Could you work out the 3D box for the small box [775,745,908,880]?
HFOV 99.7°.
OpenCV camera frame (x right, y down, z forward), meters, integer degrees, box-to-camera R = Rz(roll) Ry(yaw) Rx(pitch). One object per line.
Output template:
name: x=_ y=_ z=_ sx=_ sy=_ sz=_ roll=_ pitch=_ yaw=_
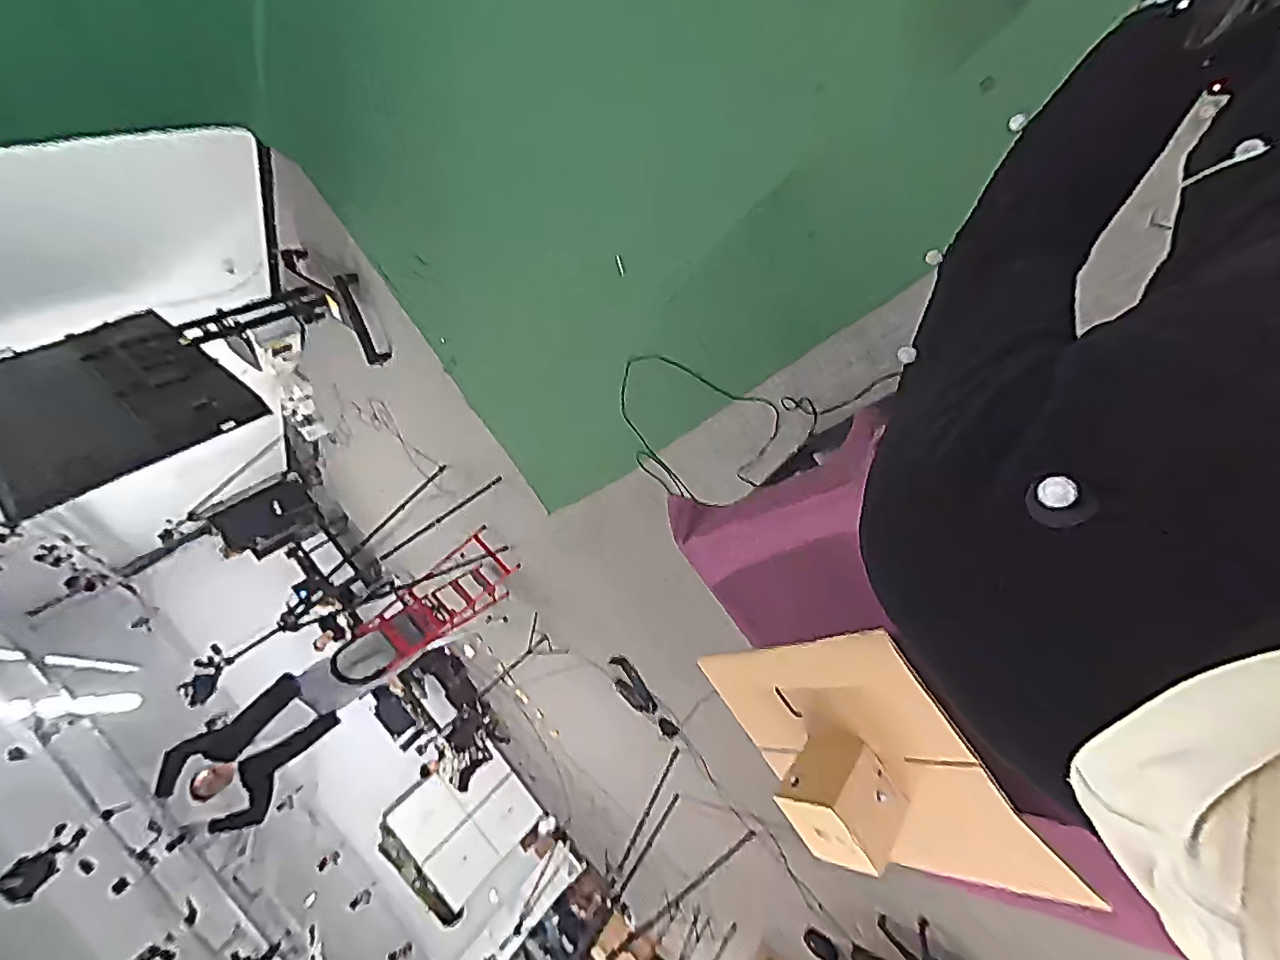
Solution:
small box: x=0.431 y=0.694 z=1.155 sx=0.168 sy=0.176 sz=0.179 roll=55 pitch=143 yaw=-1
